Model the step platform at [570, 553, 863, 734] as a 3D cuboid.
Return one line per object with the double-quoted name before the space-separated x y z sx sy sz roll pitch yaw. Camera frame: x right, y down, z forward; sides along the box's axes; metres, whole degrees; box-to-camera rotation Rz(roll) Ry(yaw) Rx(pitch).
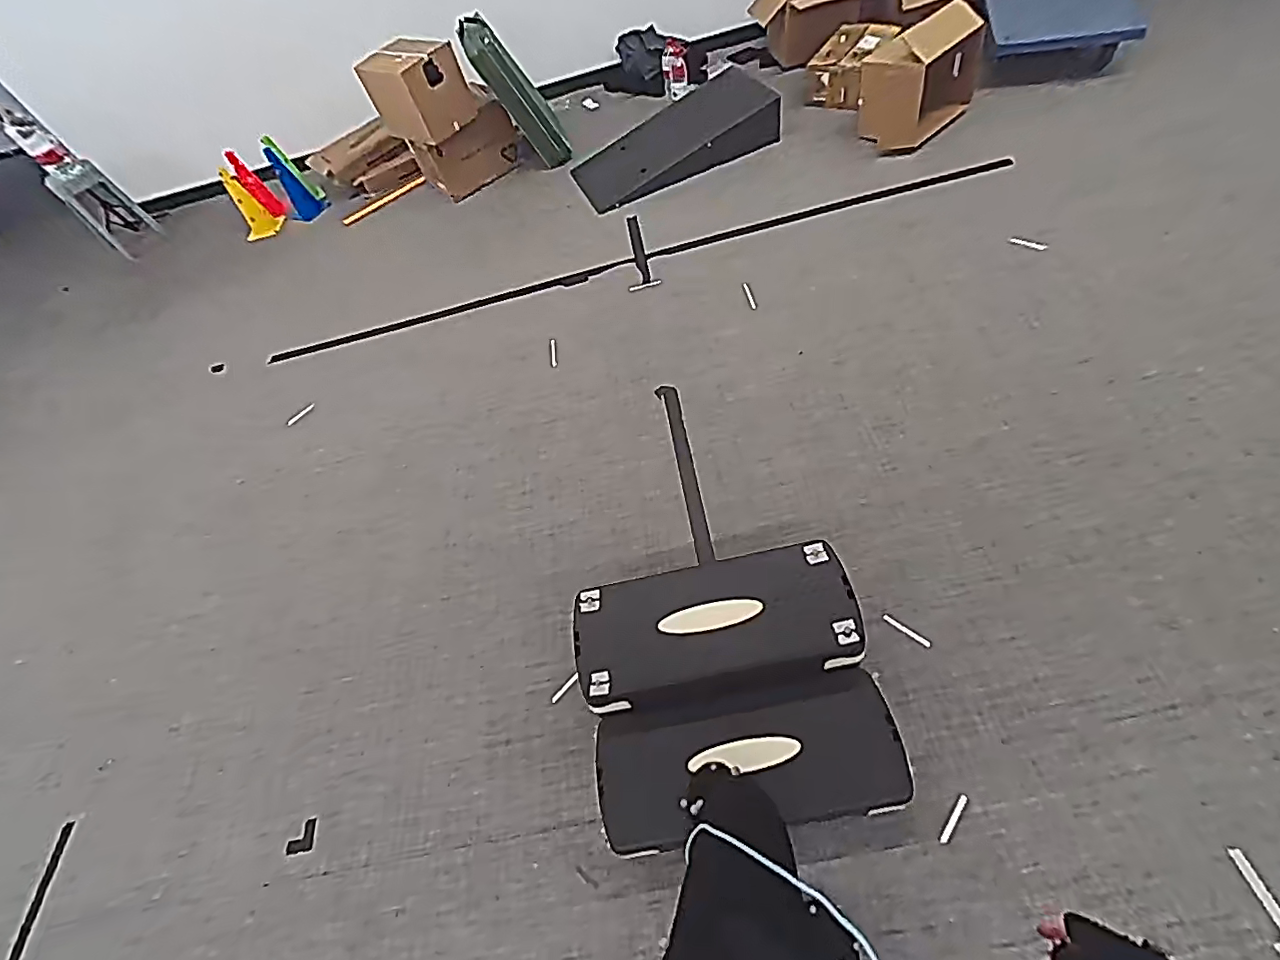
"step platform" 0.173 0.398 1.323 0.684 0.204 0.286 -13 56 3
